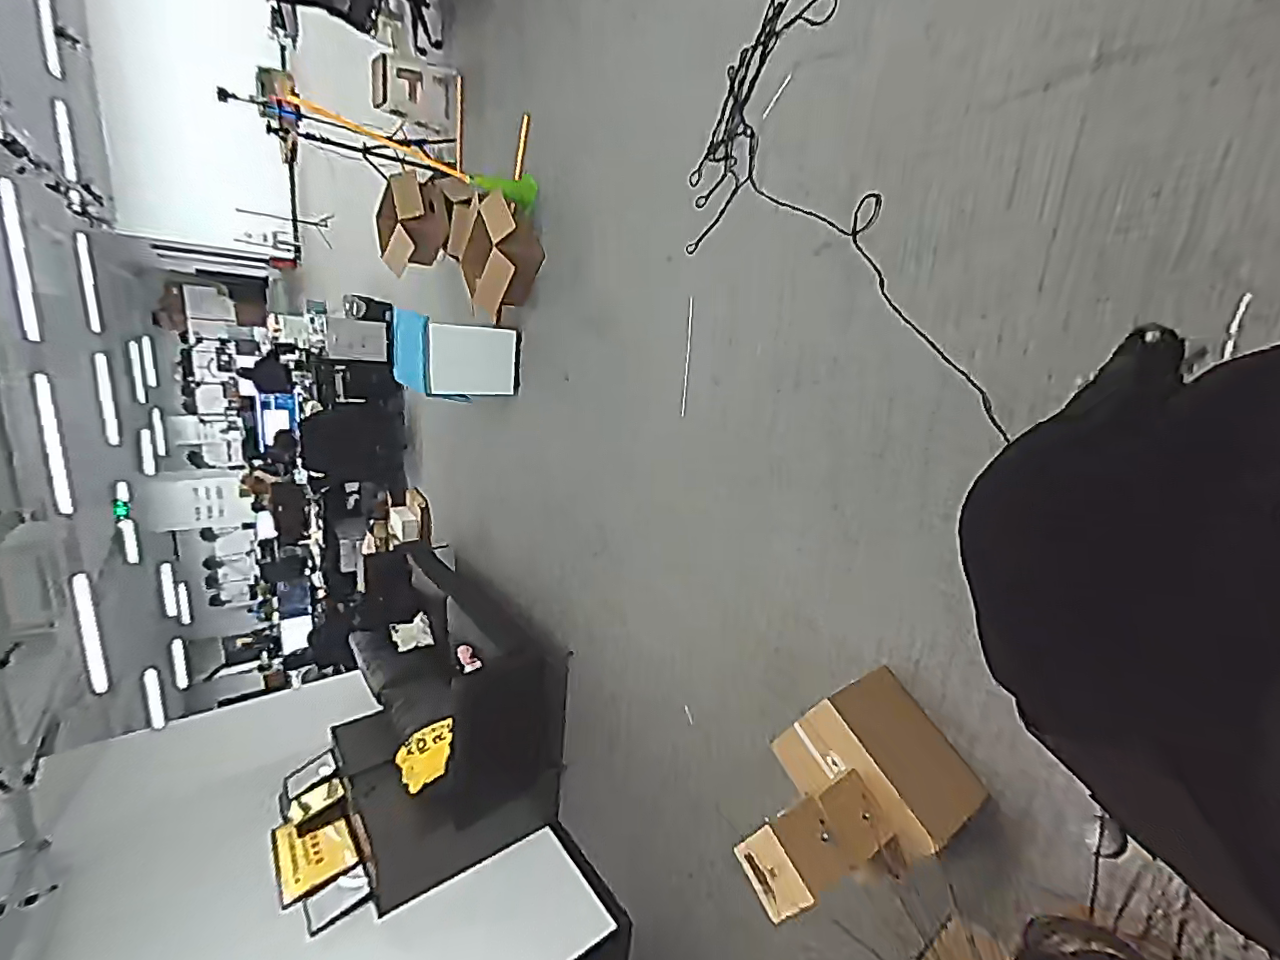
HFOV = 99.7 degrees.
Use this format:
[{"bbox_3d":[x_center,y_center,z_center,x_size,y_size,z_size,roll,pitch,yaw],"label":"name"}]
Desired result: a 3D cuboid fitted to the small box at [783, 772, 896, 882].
[{"bbox_3d":[0.509,0.881,1.380,0.168,0.176,0.179,59,137,30],"label":"small box"}]
